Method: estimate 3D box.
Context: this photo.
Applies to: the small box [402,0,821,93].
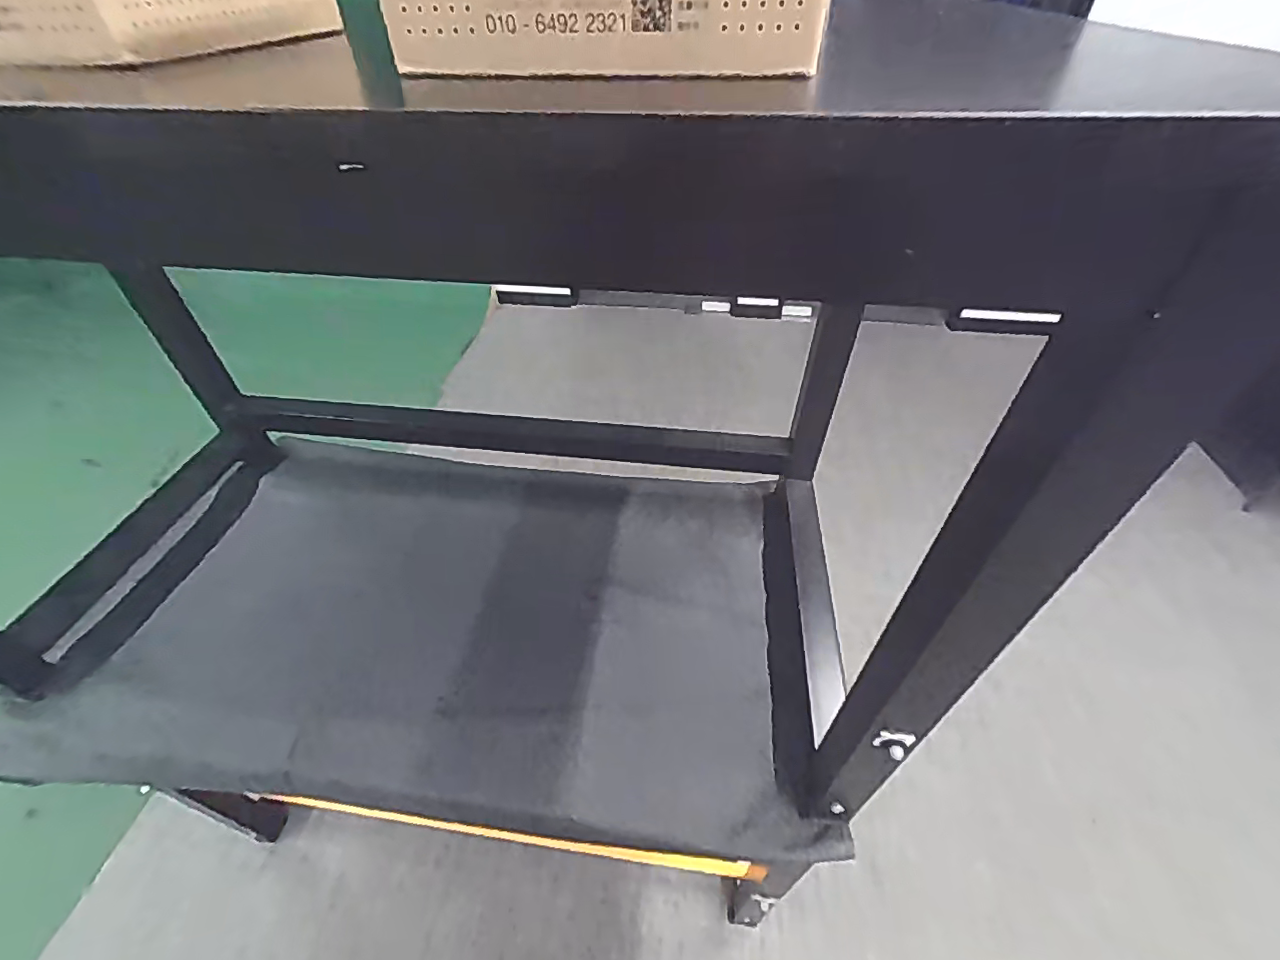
[{"bbox_3d":[-0.005,-0.269,0.216,0.168,0.176,0.179,6,44,6],"label":"small box"}]
